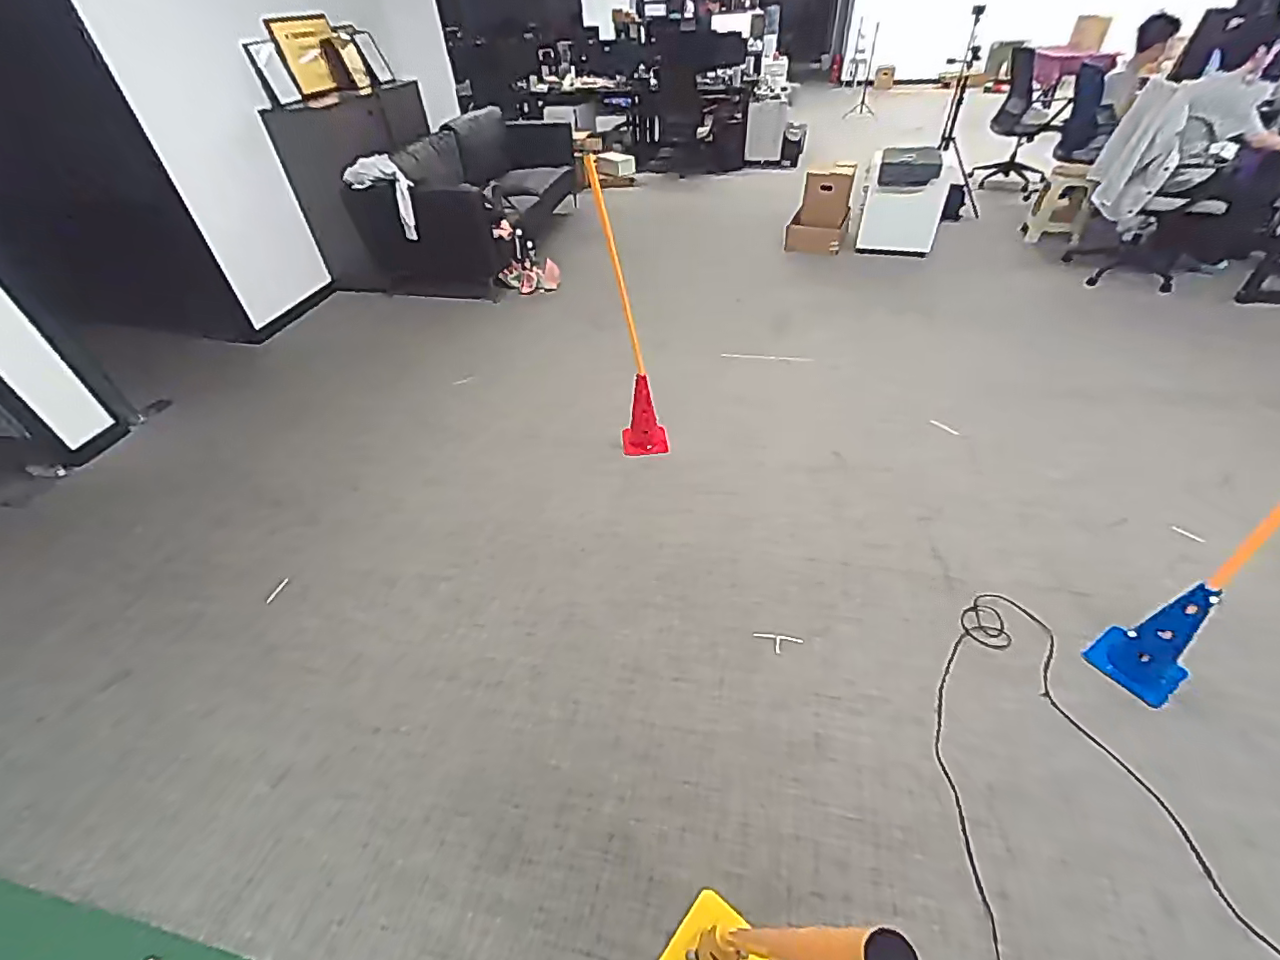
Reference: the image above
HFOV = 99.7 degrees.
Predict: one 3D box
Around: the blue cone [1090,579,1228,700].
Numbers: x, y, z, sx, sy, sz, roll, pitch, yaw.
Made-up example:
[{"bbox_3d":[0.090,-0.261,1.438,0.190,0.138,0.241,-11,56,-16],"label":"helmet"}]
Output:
[{"bbox_3d":[1.434,0.398,1.466,0.193,0.380,0.192,-24,45,-25],"label":"blue cone"}]
